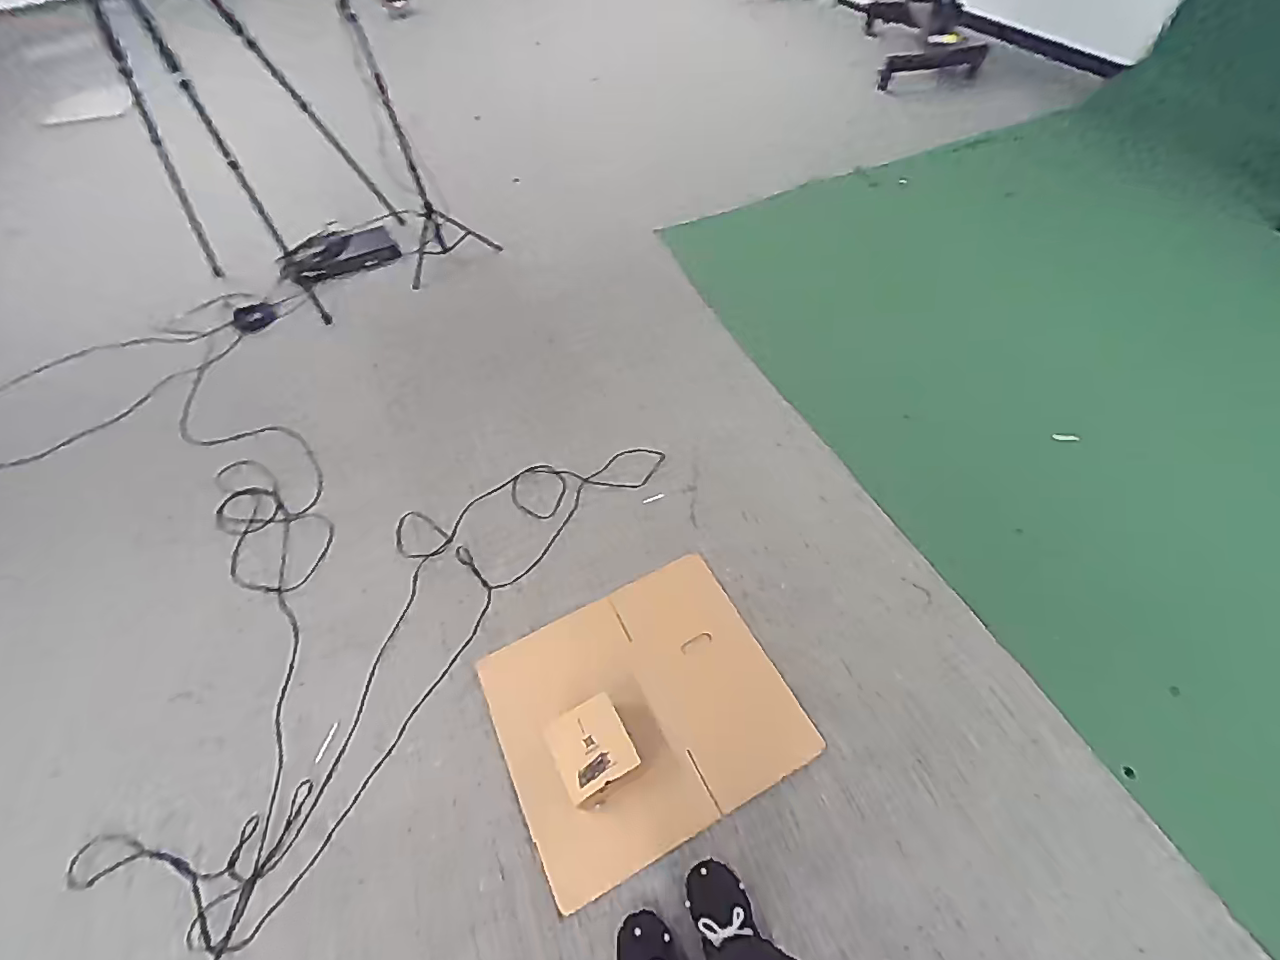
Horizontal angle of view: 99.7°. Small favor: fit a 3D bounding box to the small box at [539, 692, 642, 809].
[{"bbox_3d":[-0.107,0.621,1.235,0.168,0.176,0.179,-27,57,-14],"label":"small box"}]
